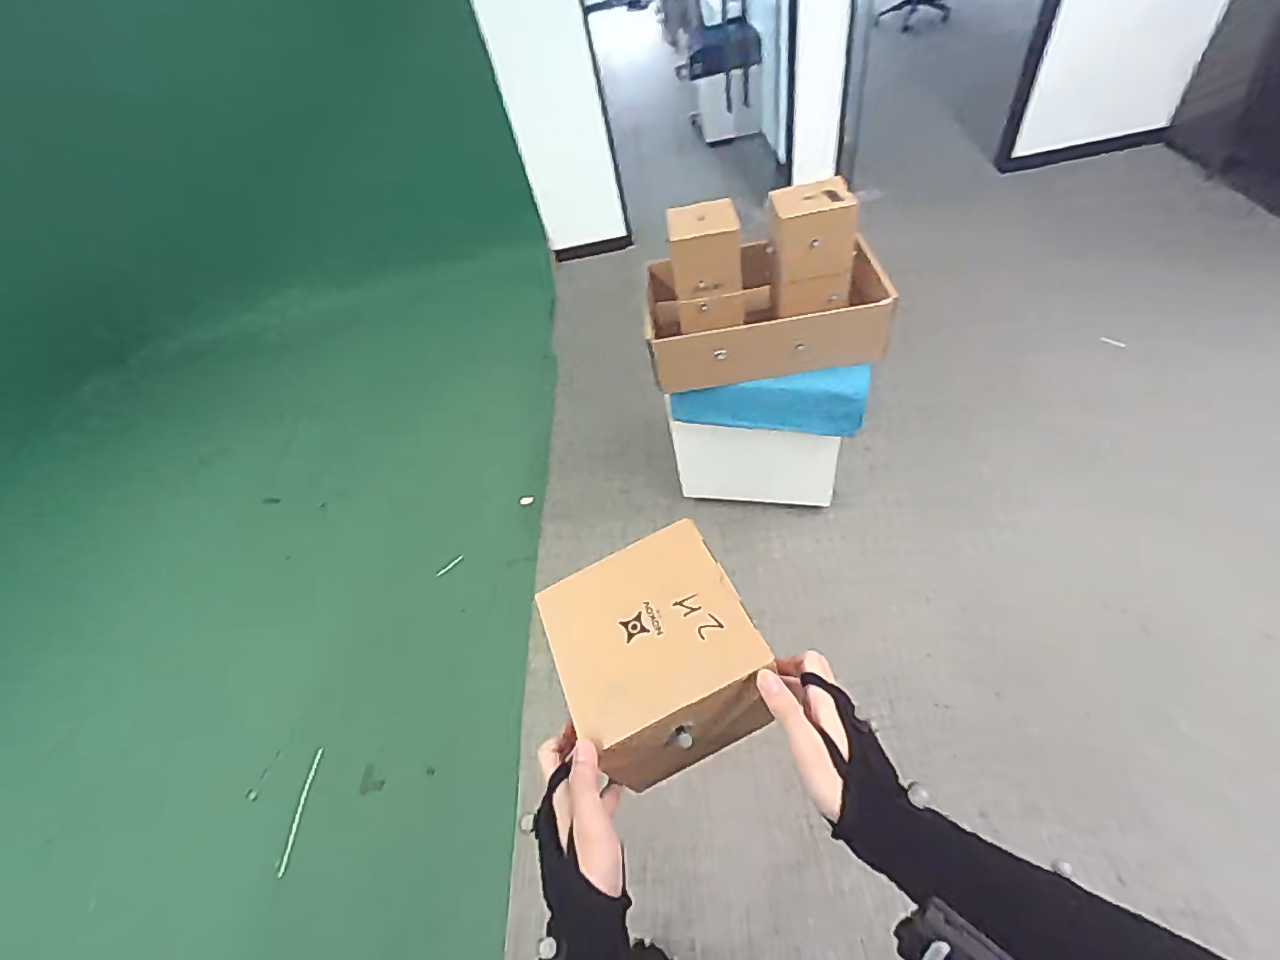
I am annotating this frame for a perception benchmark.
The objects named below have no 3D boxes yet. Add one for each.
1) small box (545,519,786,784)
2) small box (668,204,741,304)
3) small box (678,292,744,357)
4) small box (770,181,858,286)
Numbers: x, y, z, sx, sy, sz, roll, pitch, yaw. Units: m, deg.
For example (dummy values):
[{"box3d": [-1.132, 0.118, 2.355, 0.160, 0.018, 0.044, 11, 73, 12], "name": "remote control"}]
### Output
[{"box3d": [0.030, 0.178, 0.545, 0.179, 0.176, 0.168, -25, 49, -2], "name": "small box"}, {"box3d": [0.165, -0.578, 1.387, 0.168, 0.176, 0.179, -8, 48, 7], "name": "small box"}, {"box3d": [0.194, -0.468, 1.504, 0.168, 0.176, 0.179, -8, 47, 7], "name": "small box"}, {"box3d": [0.425, -0.611, 1.350, 0.179, 0.176, 0.168, -9, 48, 8], "name": "small box"}]
